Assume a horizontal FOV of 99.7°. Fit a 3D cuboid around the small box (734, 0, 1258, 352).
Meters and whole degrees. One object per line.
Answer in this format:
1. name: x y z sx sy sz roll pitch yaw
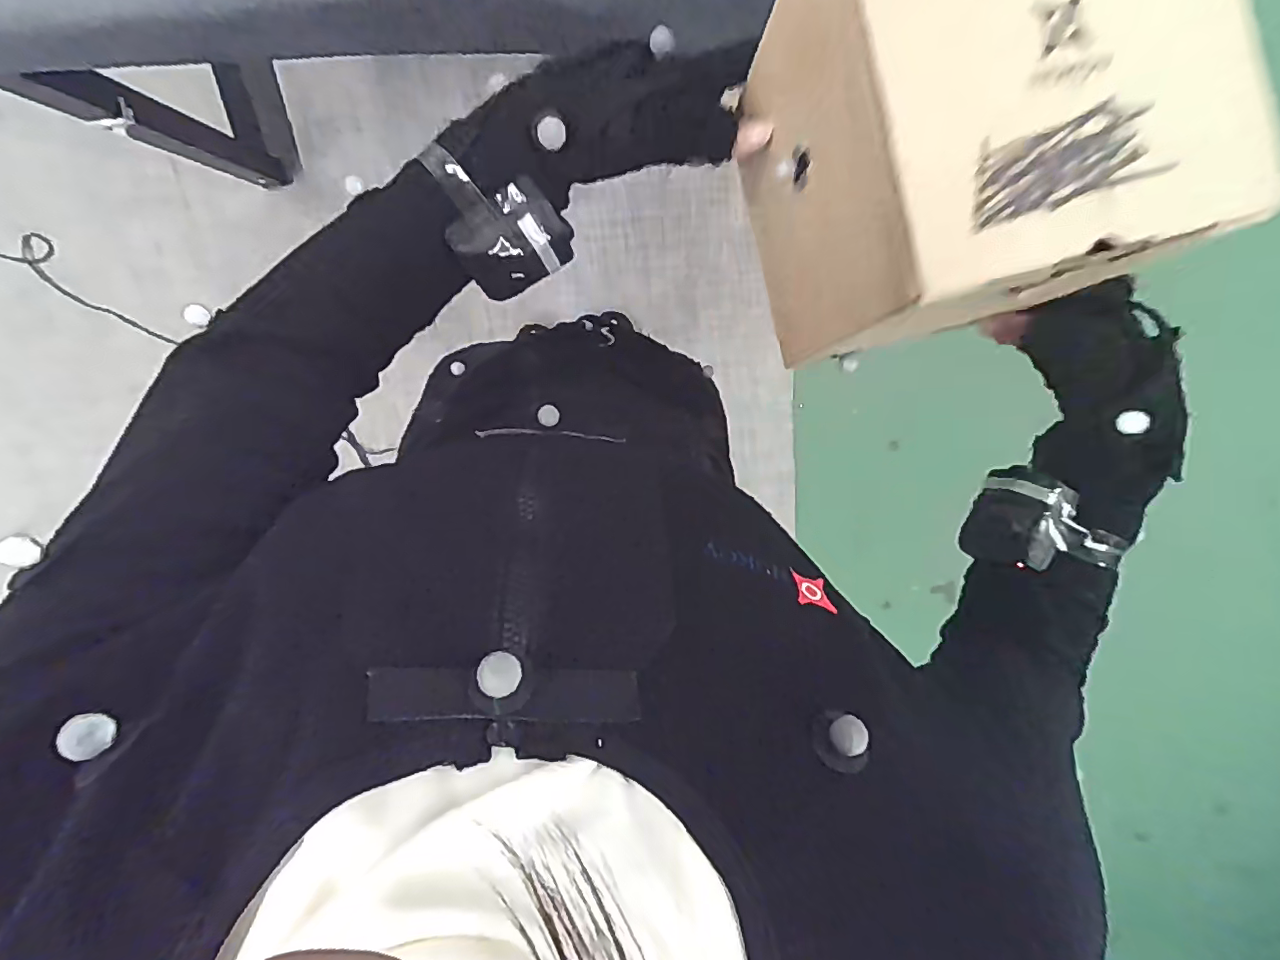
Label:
1. small box: 0.166 -0.182 0.308 0.168 0.176 0.179 -14 92 -4
